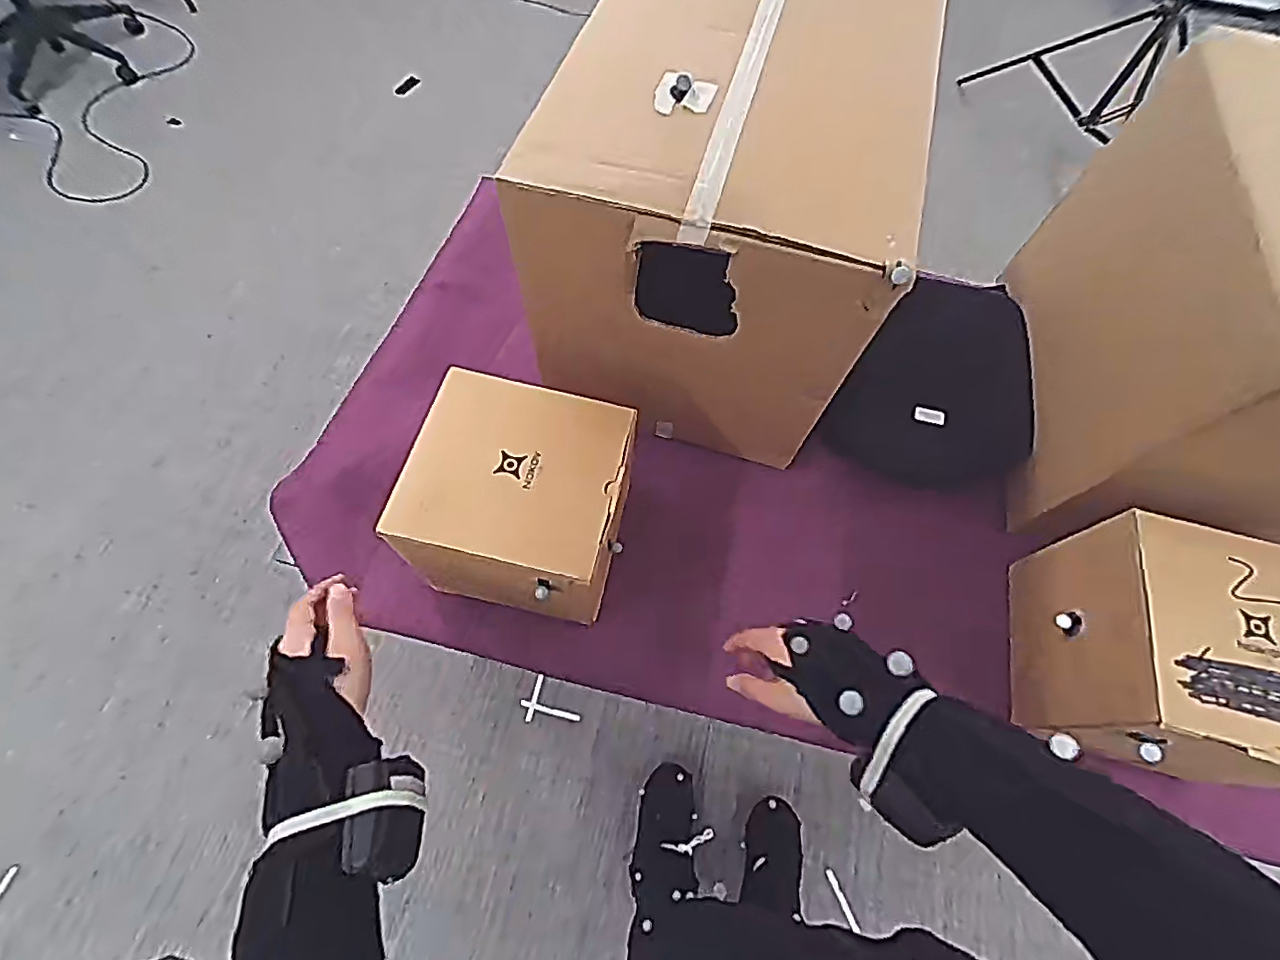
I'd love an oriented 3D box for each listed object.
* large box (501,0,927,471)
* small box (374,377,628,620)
[{"bbox_3d":[0.084,-0.279,0.612,0.320,0.320,0.408,15,68,6],"label":"large box"},{"bbox_3d":[-0.118,0.029,0.531,0.179,0.176,0.168,13,64,0],"label":"small box"}]
